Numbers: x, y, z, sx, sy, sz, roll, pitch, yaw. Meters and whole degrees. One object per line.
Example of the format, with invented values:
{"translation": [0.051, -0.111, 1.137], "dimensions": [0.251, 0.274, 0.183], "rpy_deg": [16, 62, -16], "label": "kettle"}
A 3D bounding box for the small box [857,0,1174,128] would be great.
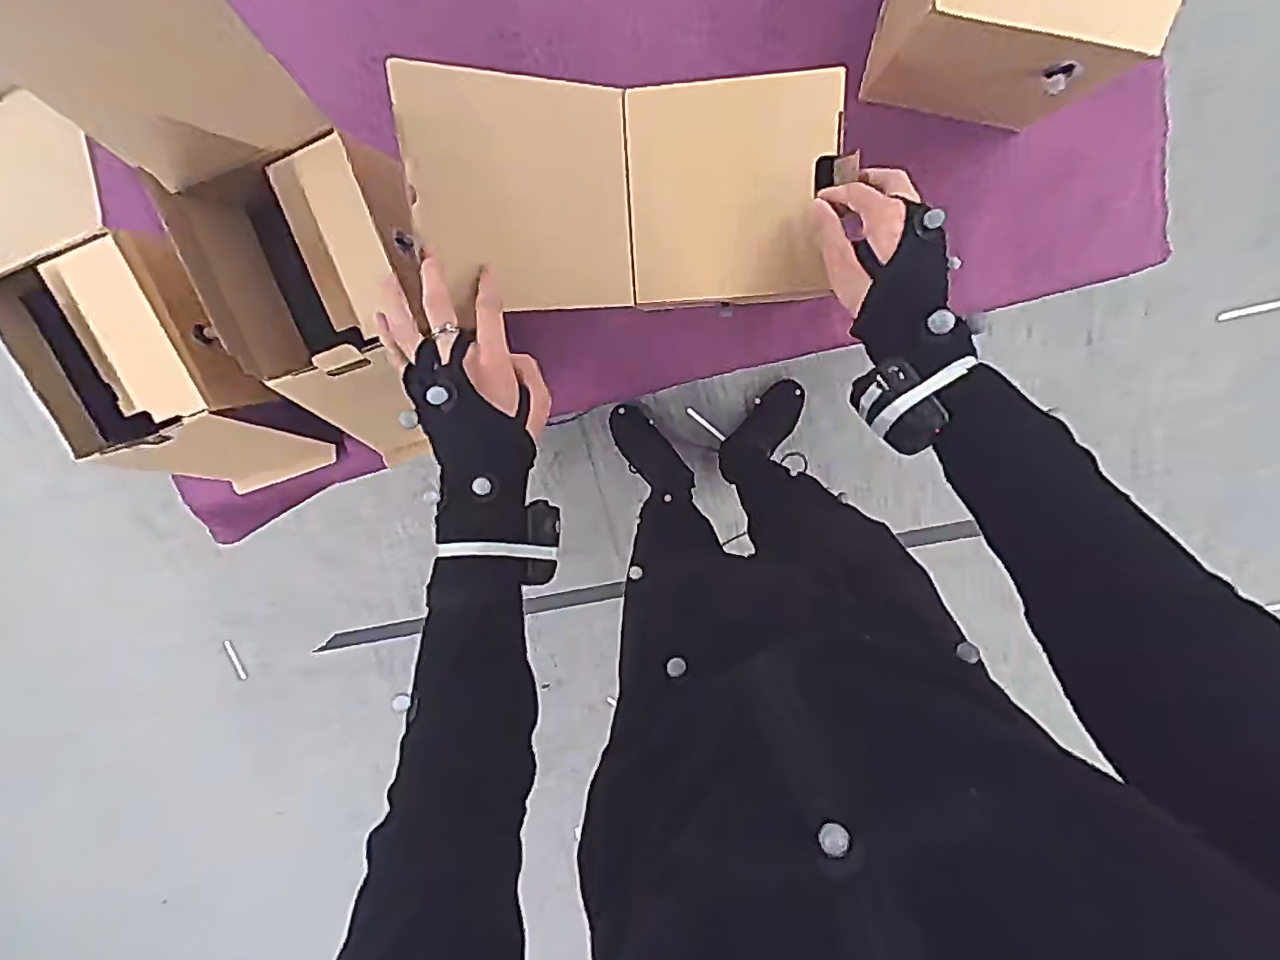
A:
{"translation": [0.313, -0.423, 0.452], "dimensions": [0.179, 0.176, 0.168], "rpy_deg": [12, 106, 0], "label": "small box"}

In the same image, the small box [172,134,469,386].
{"translation": [-0.302, -0.212, 0.558], "dimensions": [0.168, 0.176, 0.179], "rpy_deg": [-16, 105, 7], "label": "small box"}
